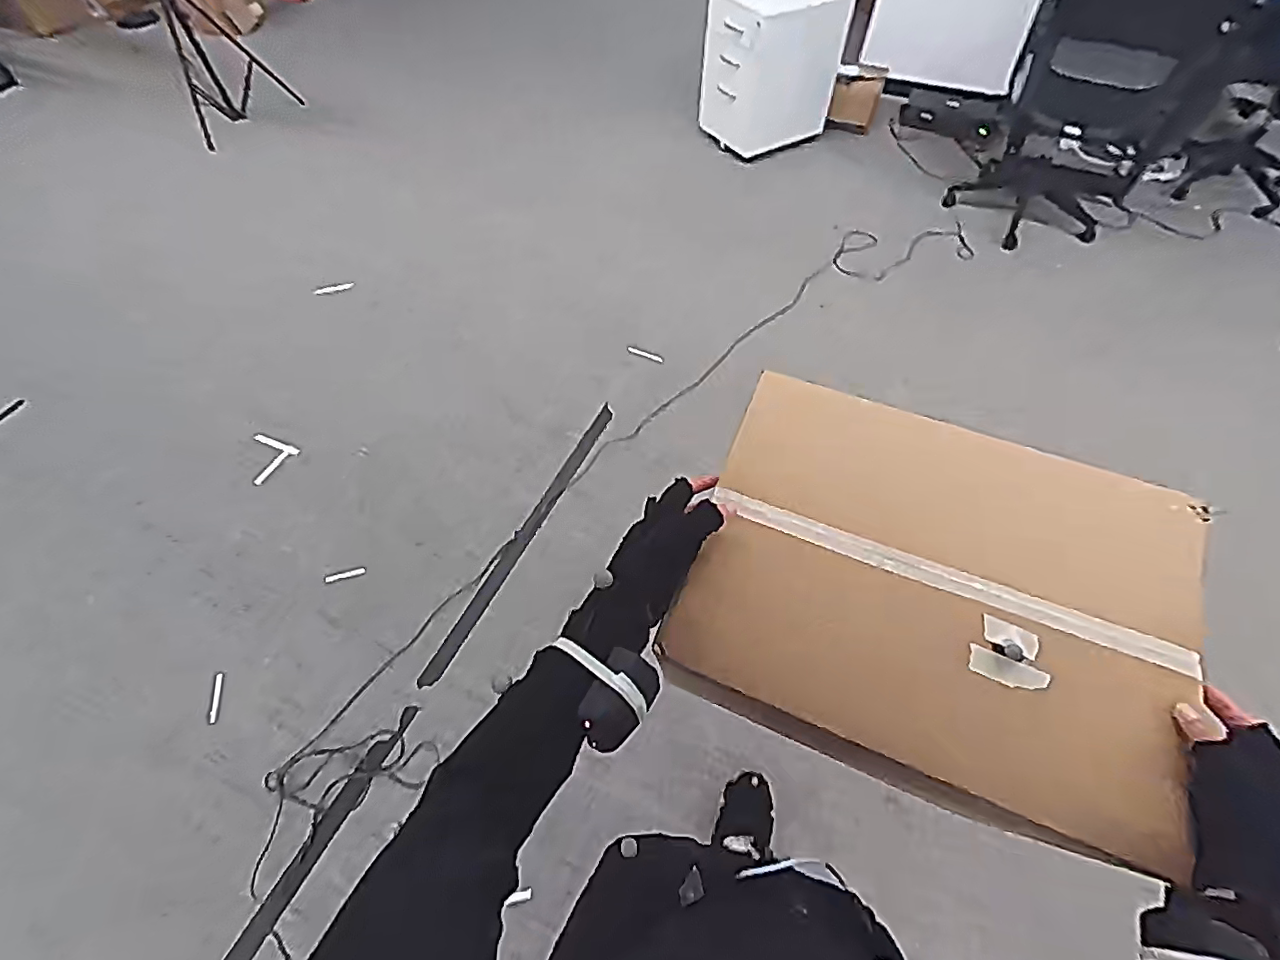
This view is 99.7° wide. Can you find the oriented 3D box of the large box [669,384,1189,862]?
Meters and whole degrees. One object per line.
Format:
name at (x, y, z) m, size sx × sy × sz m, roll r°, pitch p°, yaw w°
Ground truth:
large box at (0.271, 0.148, 0.621) m, size 0.408 × 0.320 × 0.320 m, roll 20°, pitch 70°, yaw 13°
